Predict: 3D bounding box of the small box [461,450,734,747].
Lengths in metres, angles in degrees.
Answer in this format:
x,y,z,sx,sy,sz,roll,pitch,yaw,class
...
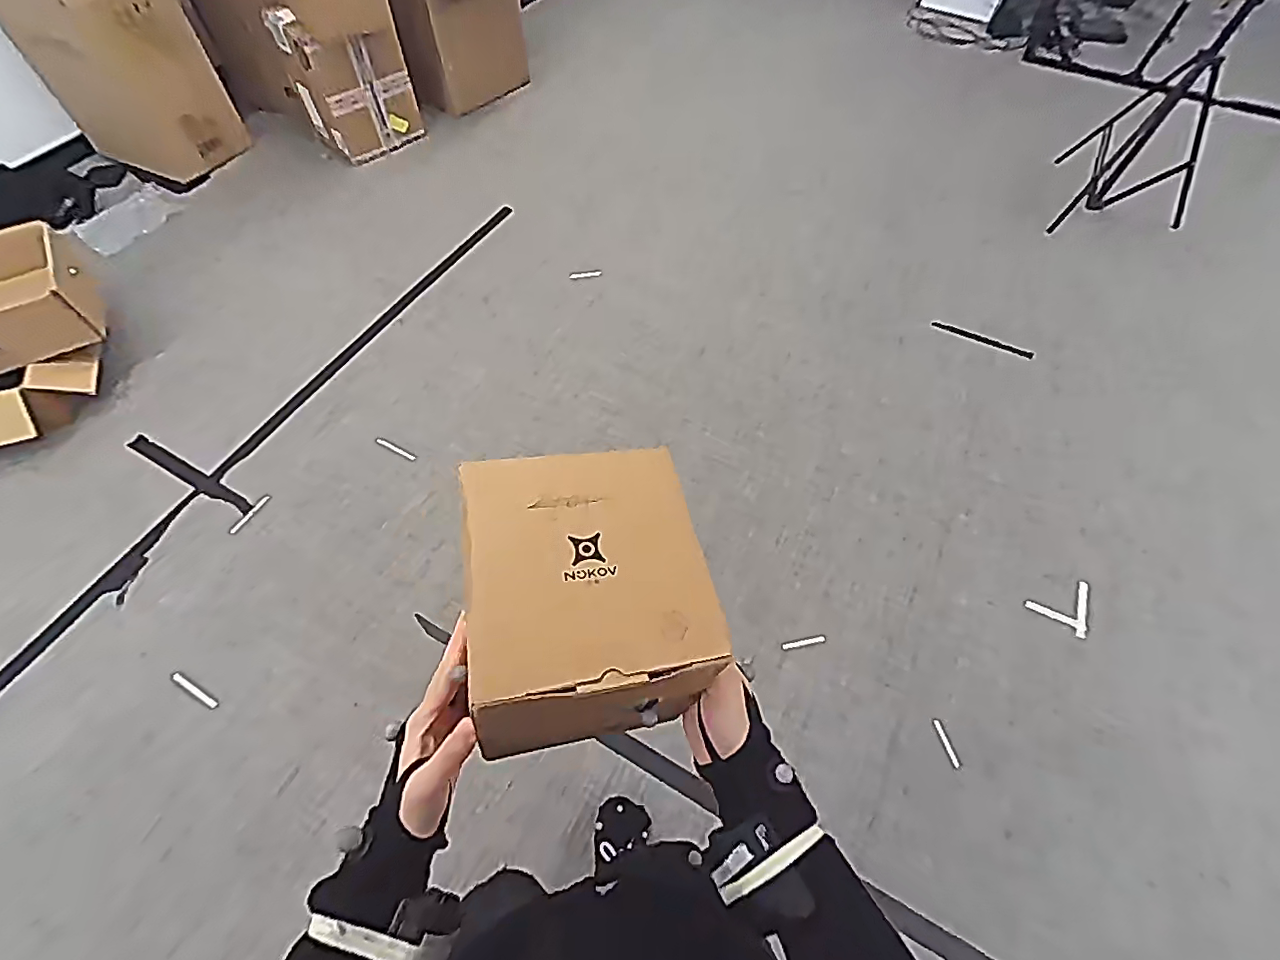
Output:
x,y,z,sx,sy,sz,roll,pitch,yaw,class
-0.048,0.099,0.434,0.168,0.176,0.179,-5,54,-17,small box
